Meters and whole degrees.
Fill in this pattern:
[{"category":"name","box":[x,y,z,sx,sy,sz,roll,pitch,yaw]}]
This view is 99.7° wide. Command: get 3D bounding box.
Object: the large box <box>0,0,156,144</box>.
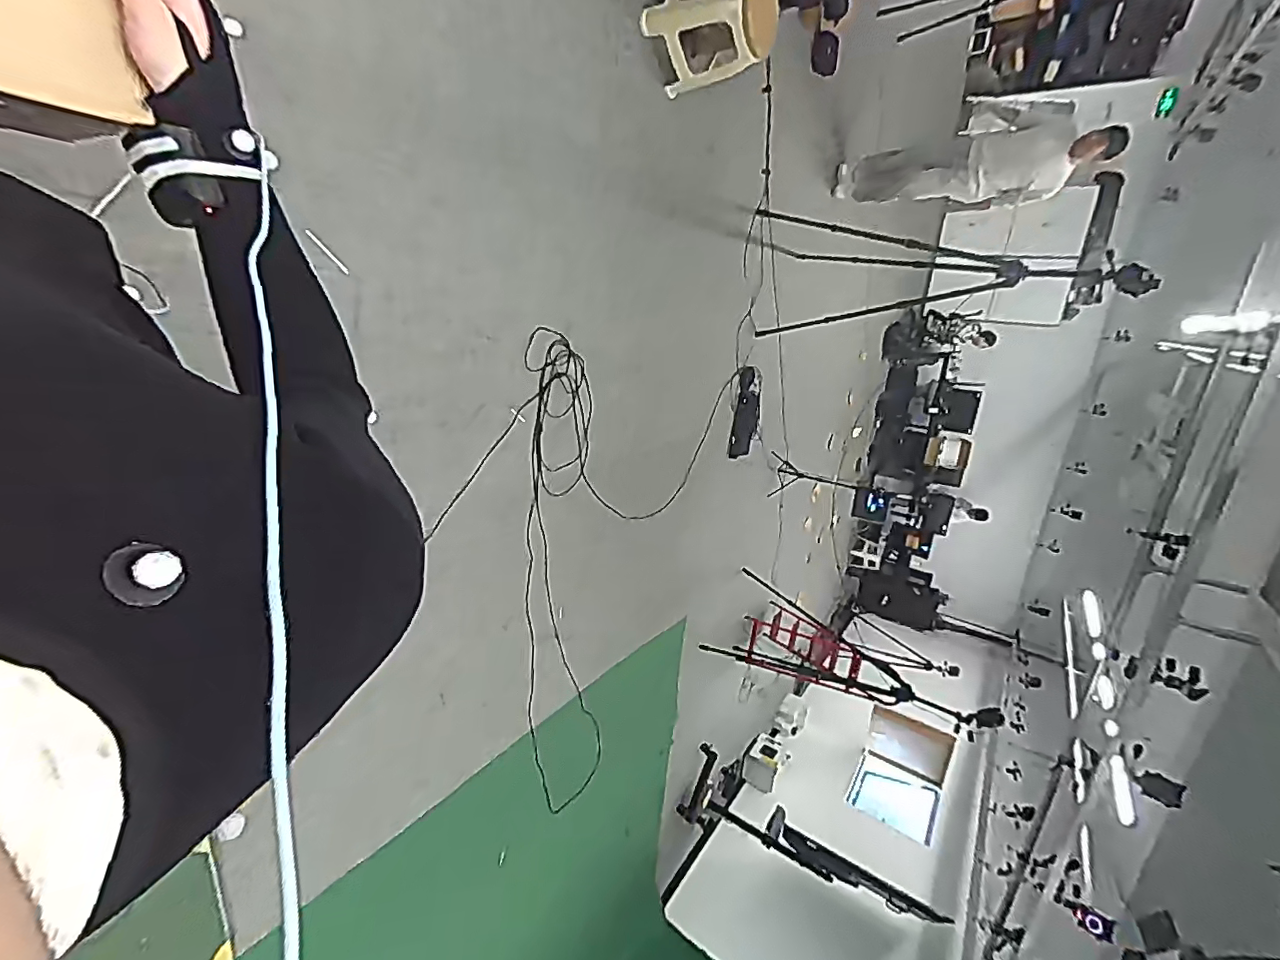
[{"category":"large box","box":[-0.613,-0.434,0.320,0.408,0.320,0.320,-16,121,-51]}]
